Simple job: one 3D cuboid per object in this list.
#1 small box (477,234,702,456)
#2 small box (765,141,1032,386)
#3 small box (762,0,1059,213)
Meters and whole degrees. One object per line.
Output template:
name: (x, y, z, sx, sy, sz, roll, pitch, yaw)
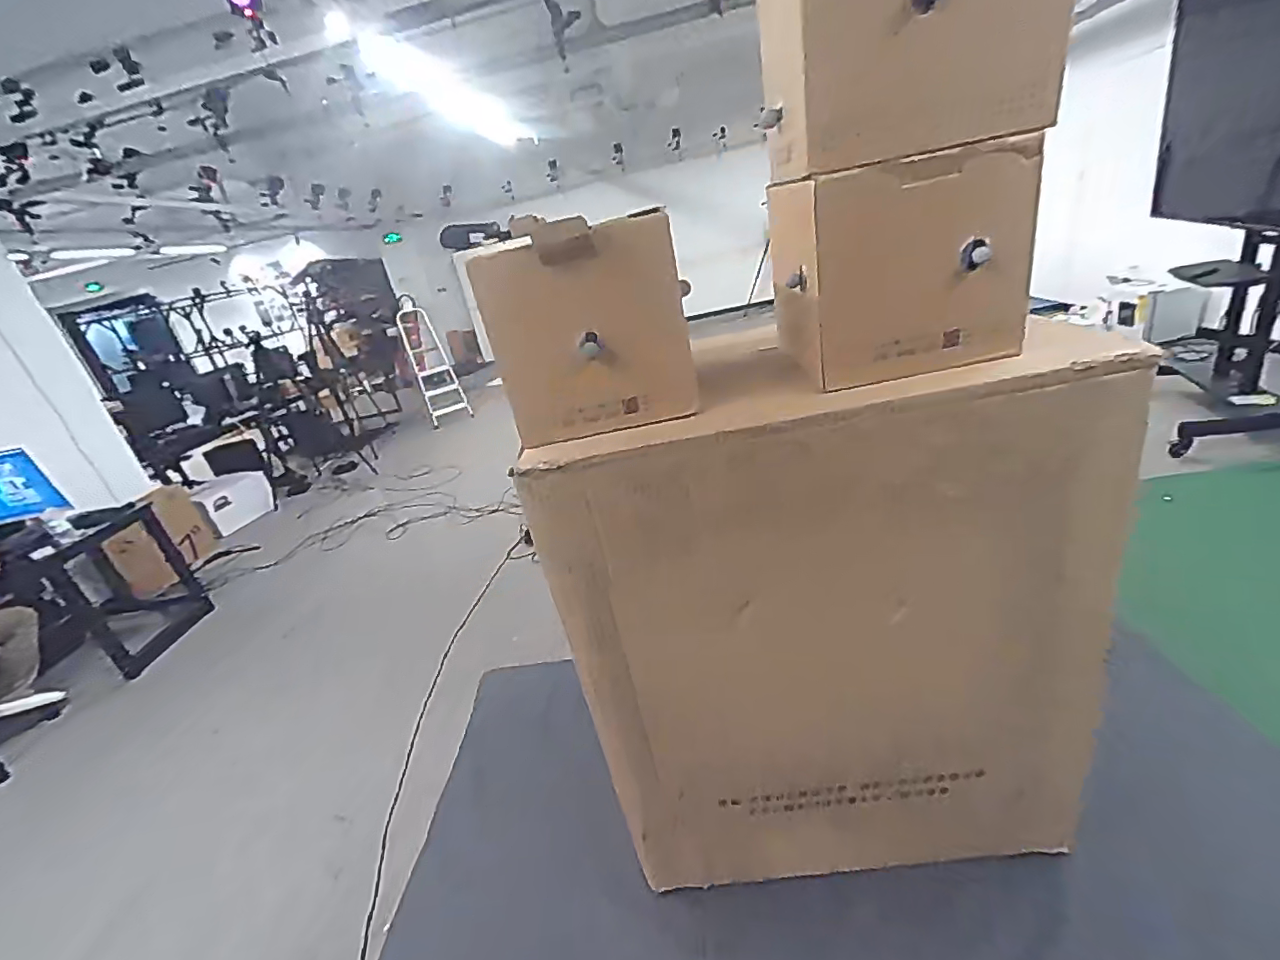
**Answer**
small box: (-0.040, -0.135, 0.542, 0.168, 0.176, 0.179, -13, 25, 3)
small box: (0.220, -0.192, 0.504, 0.168, 0.176, 0.179, -9, 25, 4)
small box: (0.201, -0.324, 0.439, 0.179, 0.176, 0.168, -8, 25, 8)
